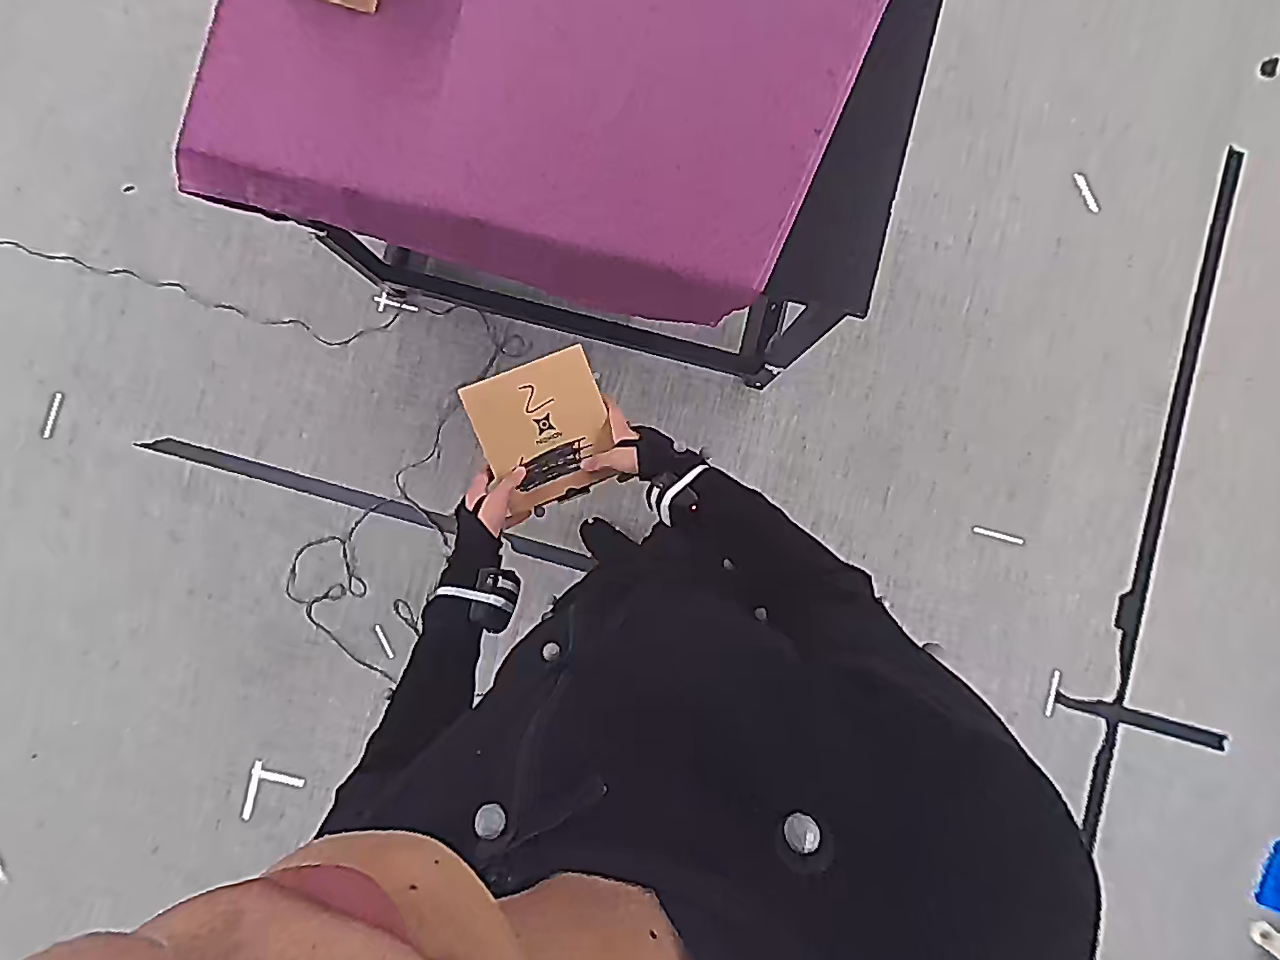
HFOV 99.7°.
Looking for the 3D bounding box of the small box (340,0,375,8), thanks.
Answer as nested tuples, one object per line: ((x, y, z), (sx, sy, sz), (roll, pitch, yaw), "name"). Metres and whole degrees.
((-0.505, -0.905, 0.839), (0.168, 0.176, 0.179), (16, 89, 0), "small box")
